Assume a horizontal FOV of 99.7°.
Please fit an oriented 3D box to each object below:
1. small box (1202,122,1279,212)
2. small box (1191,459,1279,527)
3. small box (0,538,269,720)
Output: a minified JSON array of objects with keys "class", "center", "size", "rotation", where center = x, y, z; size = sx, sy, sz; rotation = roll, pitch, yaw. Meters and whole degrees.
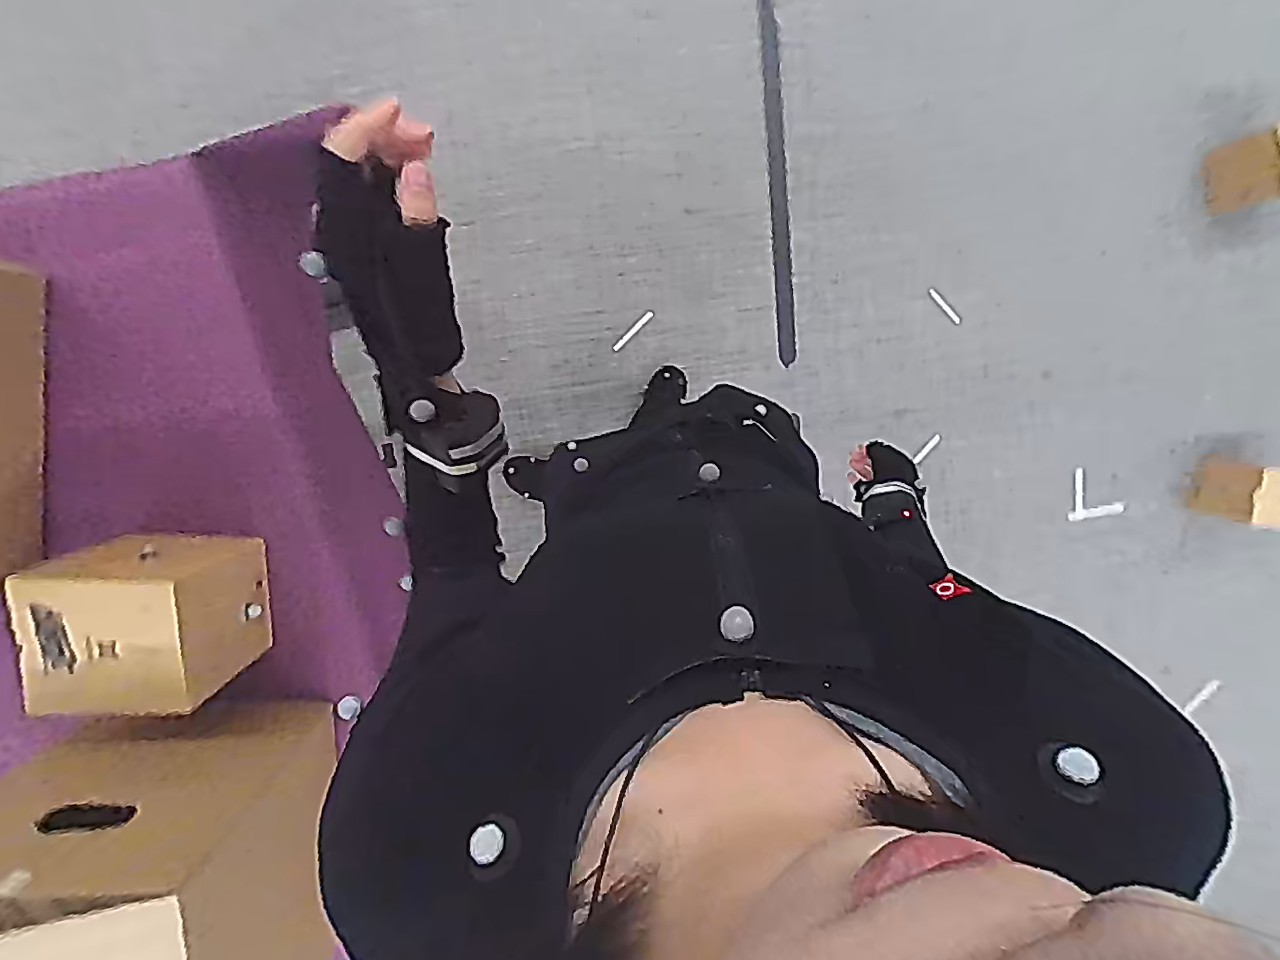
[{"class":"small box","center":[1.614,-0.813,1.387],"size":[0.168,0.176,0.179],"rotation":[-20,100,-1]},{"class":"small box","center":[1.758,0.035,1.551],"size":[0.179,0.176,0.168],"rotation":[6,100,-4]},{"class":"small box","center":[-0.606,0.174,0.673],"size":[0.179,0.176,0.168],"rotation":[2,101,-5]}]
